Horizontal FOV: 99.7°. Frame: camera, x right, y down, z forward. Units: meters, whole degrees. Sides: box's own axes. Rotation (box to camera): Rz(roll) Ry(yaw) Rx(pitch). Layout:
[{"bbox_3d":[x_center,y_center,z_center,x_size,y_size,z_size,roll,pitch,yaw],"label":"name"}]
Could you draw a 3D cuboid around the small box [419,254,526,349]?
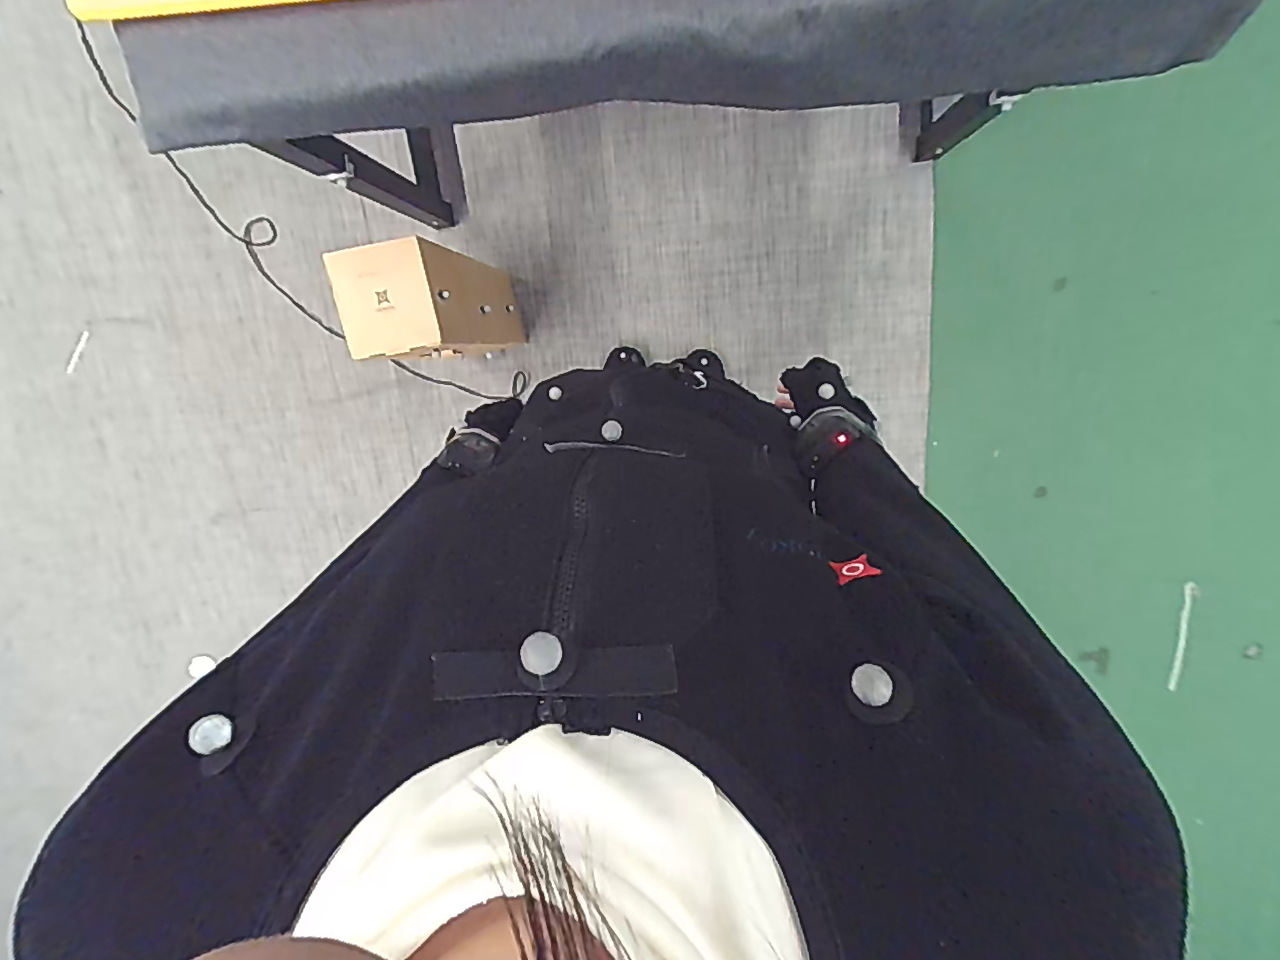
[{"bbox_3d":[-0.389,-0.415,1.282,0.168,0.176,0.179,-11,104,8],"label":"small box"}]
